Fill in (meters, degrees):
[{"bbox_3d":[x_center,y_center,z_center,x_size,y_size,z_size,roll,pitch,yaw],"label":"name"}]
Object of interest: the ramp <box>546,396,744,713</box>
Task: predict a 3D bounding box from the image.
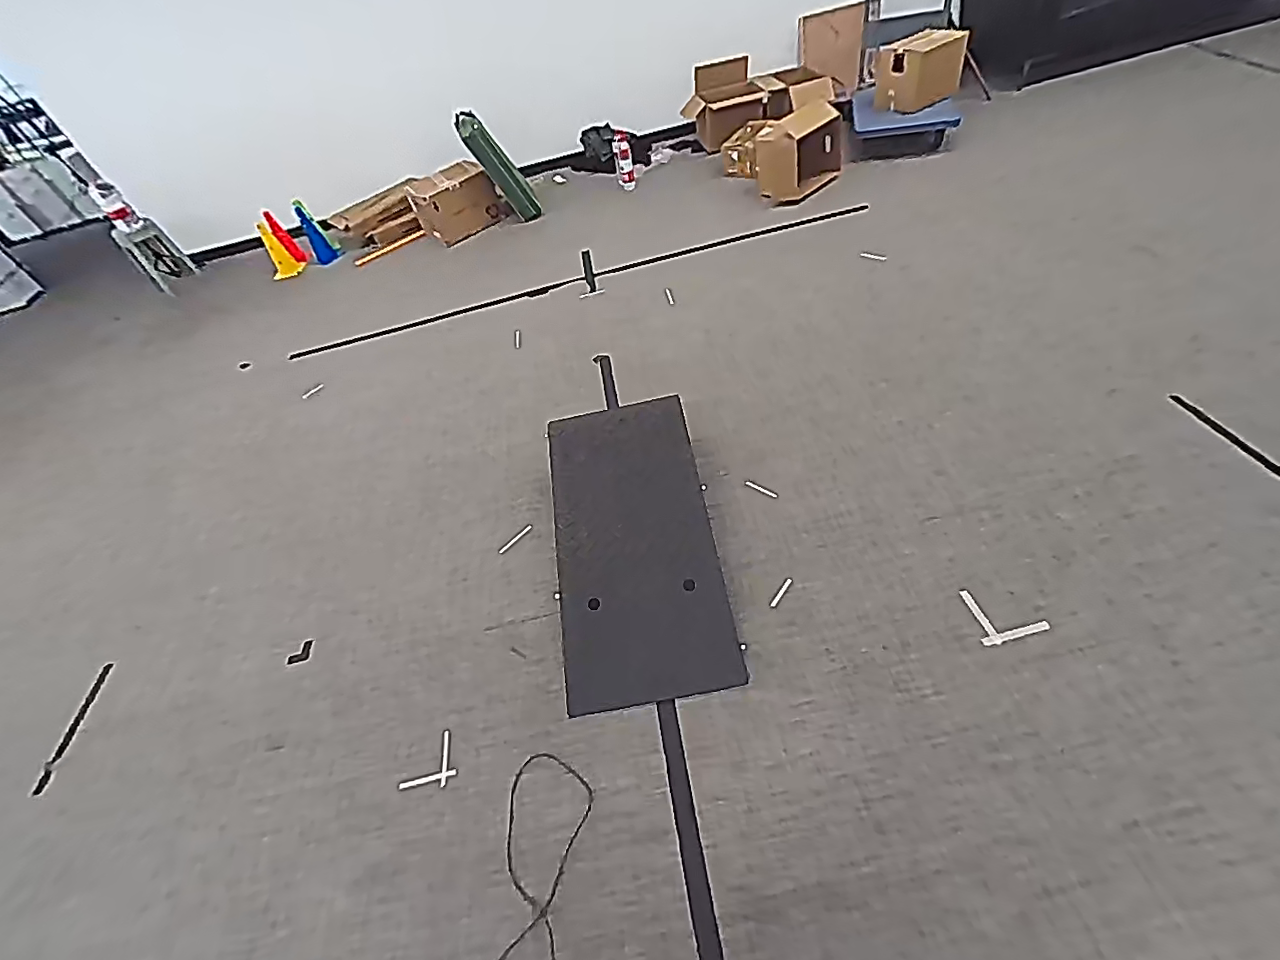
[{"bbox_3d":[-0.029,0.163,1.698,0.509,0.206,0.991,-12,48,1],"label":"ramp"}]
